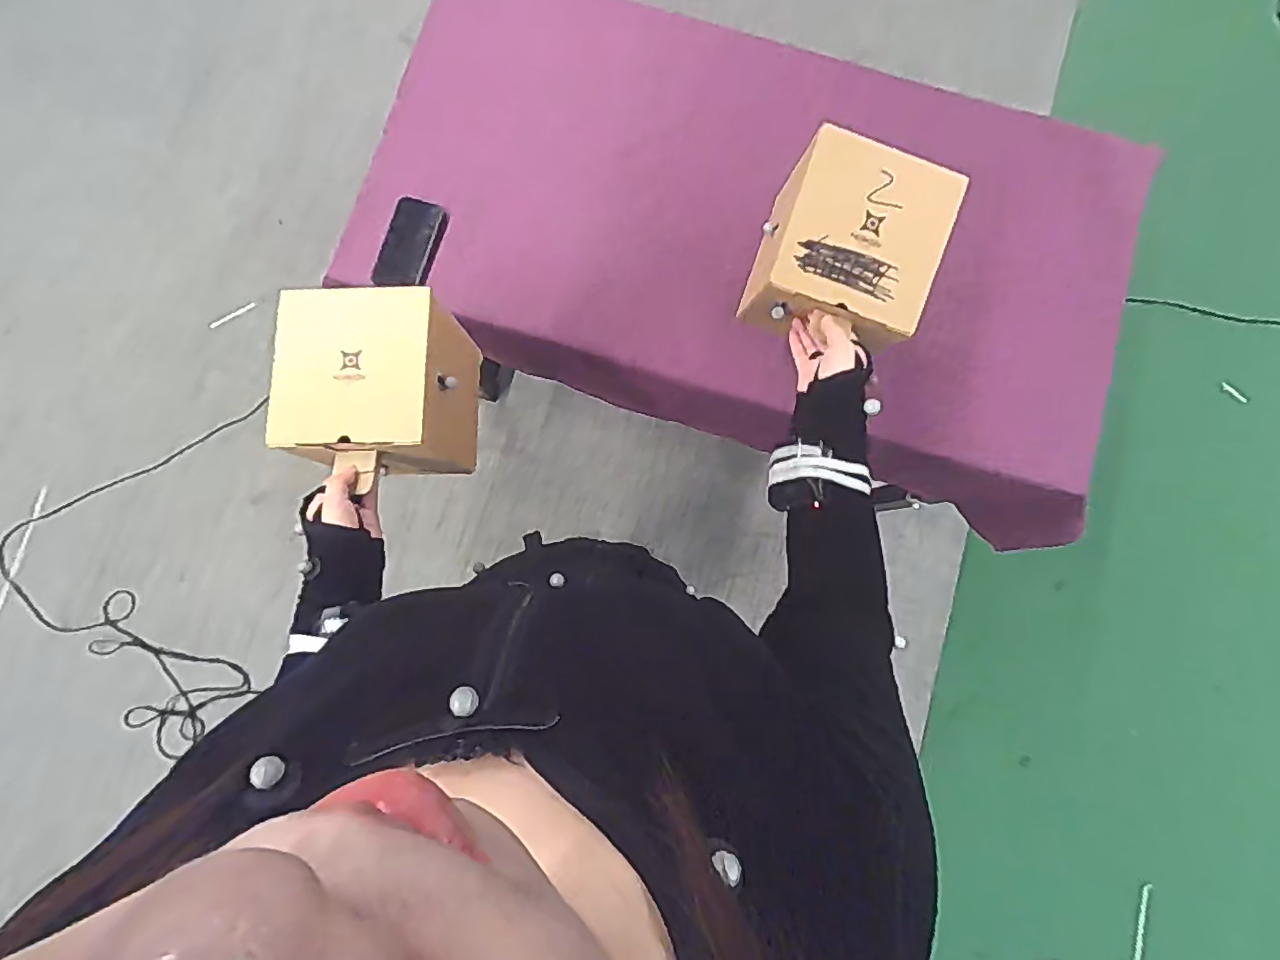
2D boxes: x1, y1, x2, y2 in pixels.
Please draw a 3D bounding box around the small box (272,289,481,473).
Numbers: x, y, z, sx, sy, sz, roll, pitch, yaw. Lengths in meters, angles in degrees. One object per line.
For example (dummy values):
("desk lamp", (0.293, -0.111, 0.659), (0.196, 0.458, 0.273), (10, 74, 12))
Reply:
("small box", (-0.301, -0.110, 0.656), (0.168, 0.176, 0.179), (0, 81, 1))
